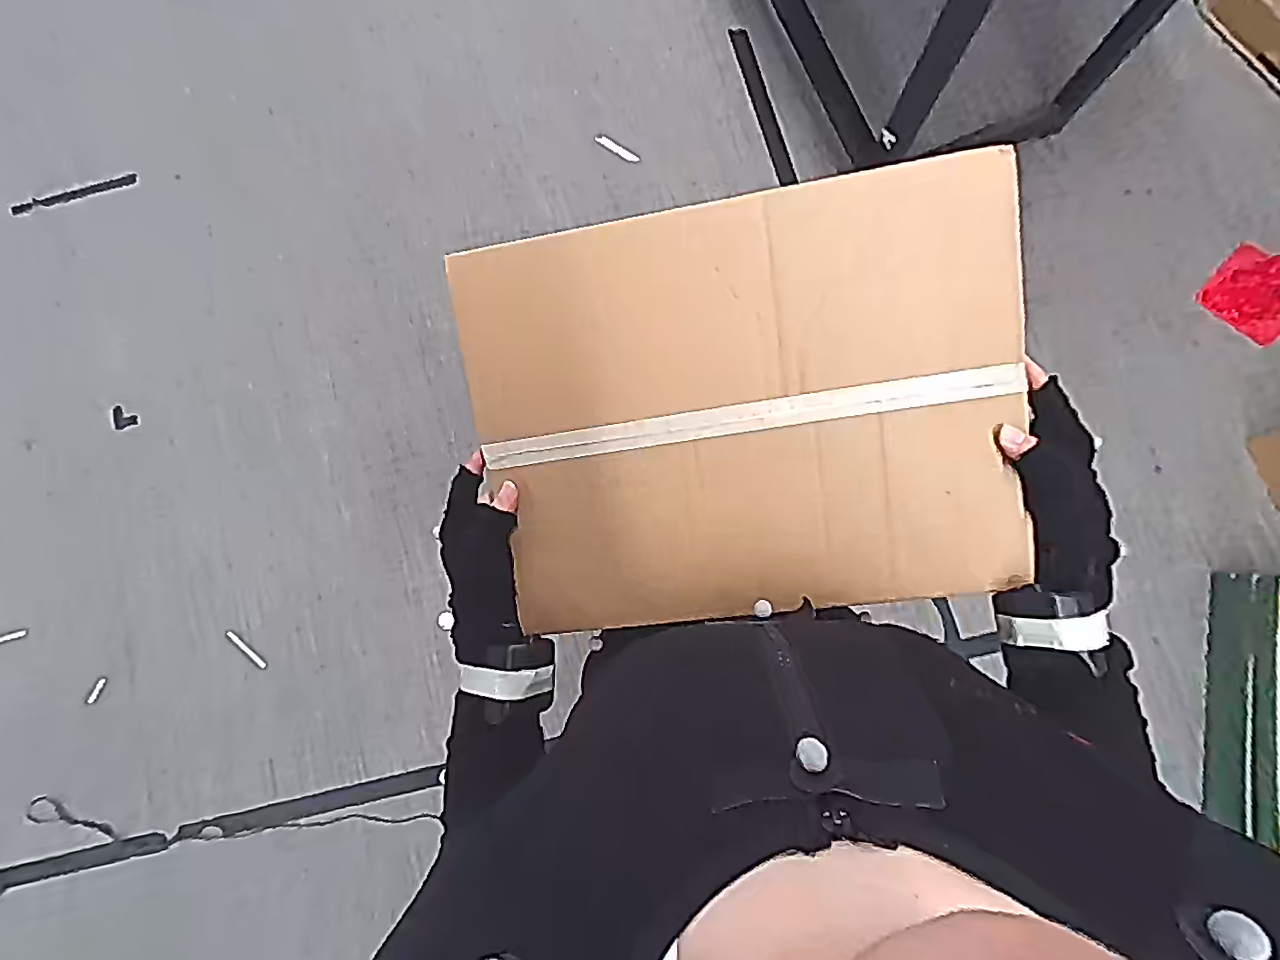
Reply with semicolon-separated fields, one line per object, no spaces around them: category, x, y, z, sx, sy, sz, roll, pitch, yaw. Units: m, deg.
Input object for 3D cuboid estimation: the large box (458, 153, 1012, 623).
large box;0.087;-0.077;0.570;0.408;0.320;0.320;-8;101;8
